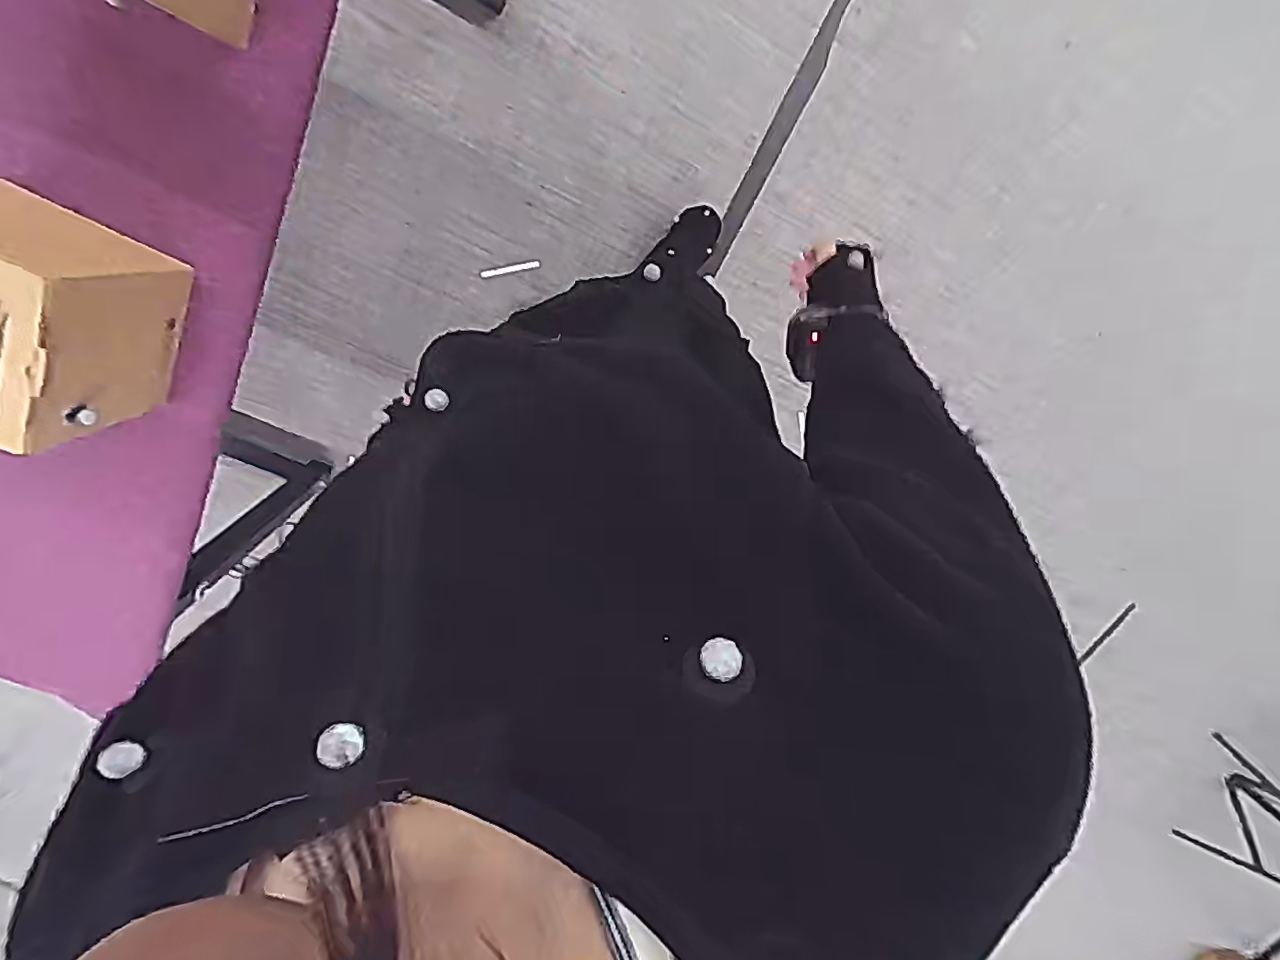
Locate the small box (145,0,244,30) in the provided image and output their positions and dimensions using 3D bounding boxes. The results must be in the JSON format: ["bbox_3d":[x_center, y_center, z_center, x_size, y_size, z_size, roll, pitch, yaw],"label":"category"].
[{"bbox_3d":[-0.391,-0.458,0.369,0.179,0.176,0.168,23,109,-14],"label":"small box"}]
